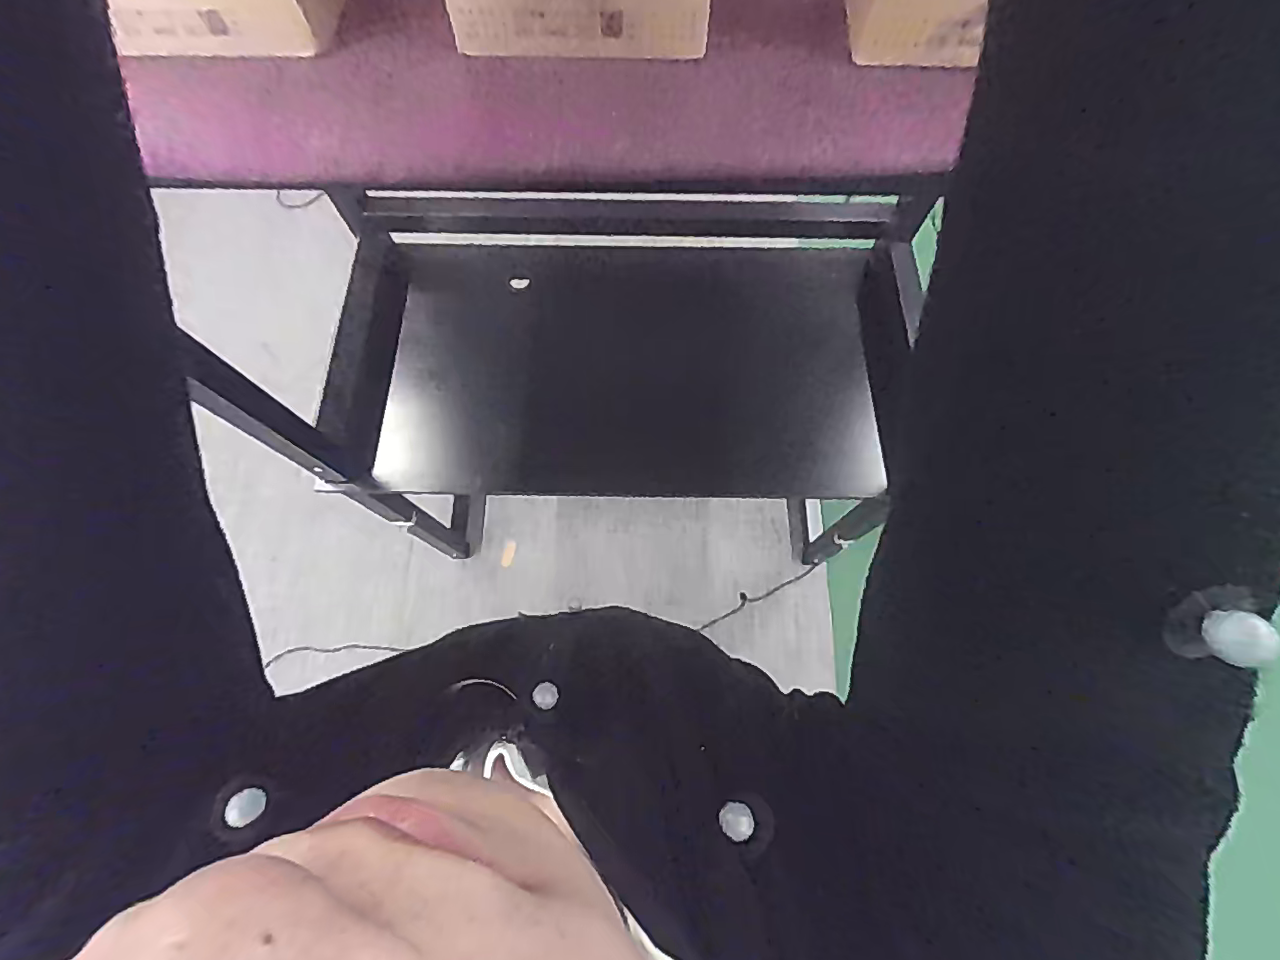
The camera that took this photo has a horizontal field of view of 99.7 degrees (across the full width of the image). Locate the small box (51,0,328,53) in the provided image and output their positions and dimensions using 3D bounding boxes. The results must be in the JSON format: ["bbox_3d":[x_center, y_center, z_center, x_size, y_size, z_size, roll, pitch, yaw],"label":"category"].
[{"bbox_3d":[-0.292,-0.392,0.311,0.168,0.176,0.179,0,68,1],"label":"small box"}]
